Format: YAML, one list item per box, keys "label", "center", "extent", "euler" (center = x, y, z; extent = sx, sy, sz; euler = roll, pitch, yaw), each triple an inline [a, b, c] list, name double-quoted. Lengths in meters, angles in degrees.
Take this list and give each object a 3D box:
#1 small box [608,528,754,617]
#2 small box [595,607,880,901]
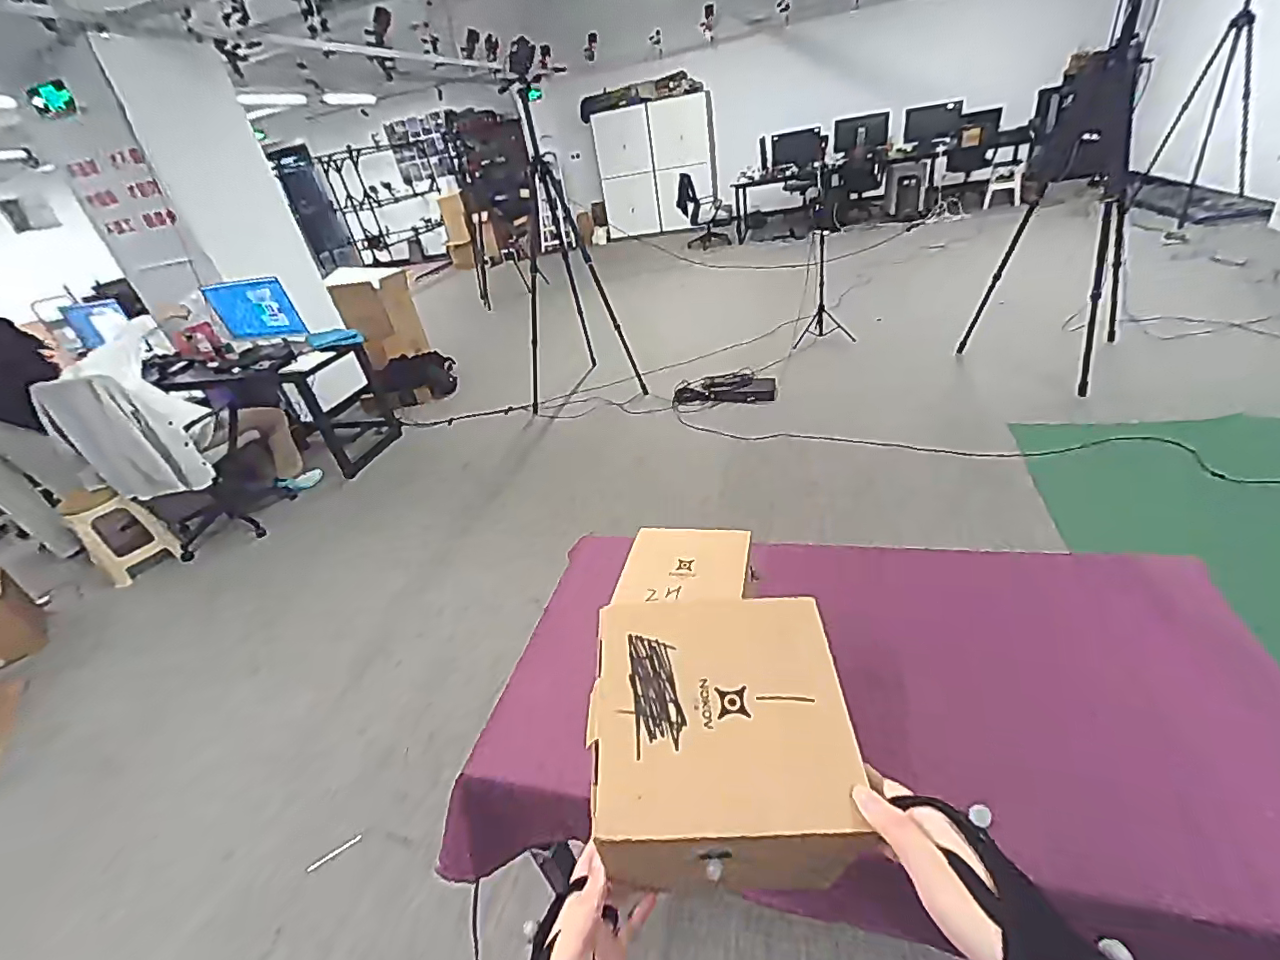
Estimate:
- label: "small box"
  center: [0.070, 0.189, 0.761]
  extent: [0.168, 0.176, 0.179]
  euler: [0, 34, 18]
- label: "small box"
  center: [0.061, 0.222, 0.436]
  extent: [0.179, 0.176, 0.168]
  euler: [-3, 44, 0]
